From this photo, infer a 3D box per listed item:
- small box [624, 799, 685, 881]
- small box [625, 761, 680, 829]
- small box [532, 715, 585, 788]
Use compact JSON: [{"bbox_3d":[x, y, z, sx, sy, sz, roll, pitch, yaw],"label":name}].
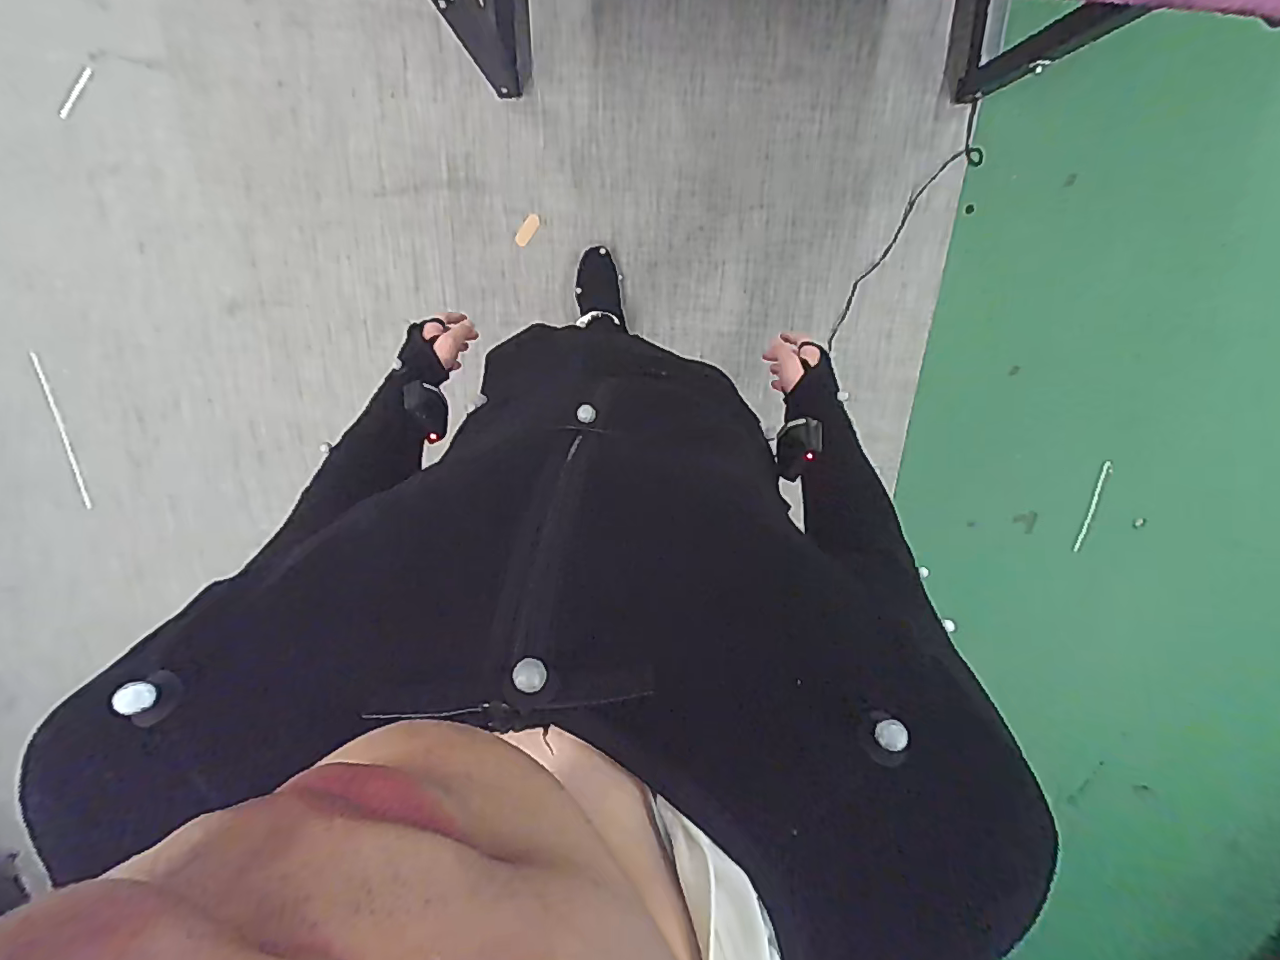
[{"bbox_3d":[0.045,1.232,1.859,0.179,0.176,0.168,9,110,-5],"label":"small box"},{"bbox_3d":[0.043,1.181,2.017,0.179,0.176,0.168,10,110,-5],"label":"small box"},{"bbox_3d":[-0.287,0.964,1.928,0.179,0.176,0.168,2,110,-3],"label":"small box"}]
